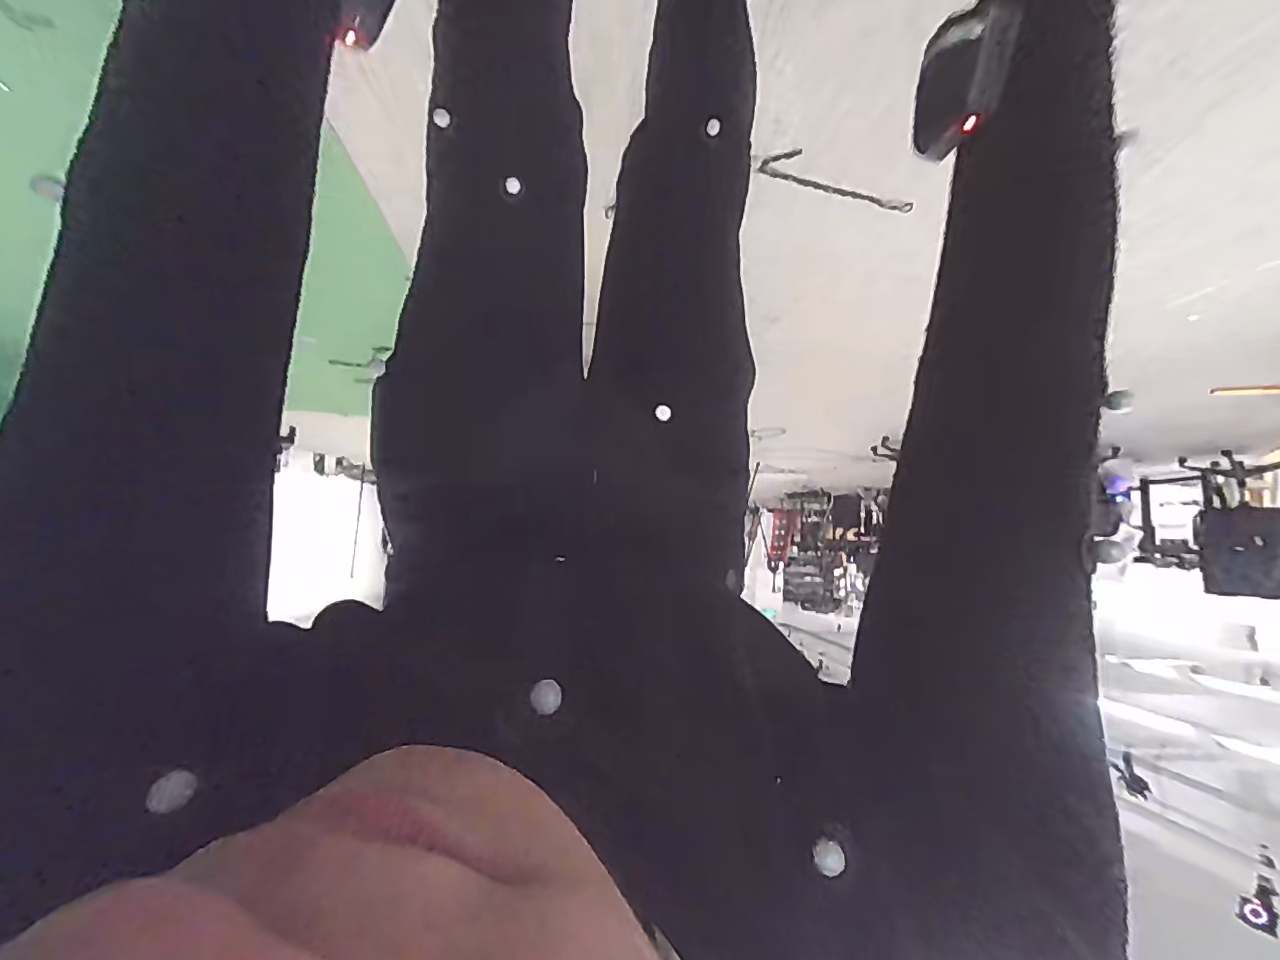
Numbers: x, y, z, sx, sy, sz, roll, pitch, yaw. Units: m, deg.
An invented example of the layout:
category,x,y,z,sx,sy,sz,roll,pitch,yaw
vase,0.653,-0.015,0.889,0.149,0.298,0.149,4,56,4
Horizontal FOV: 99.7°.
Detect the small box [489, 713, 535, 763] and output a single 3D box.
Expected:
category,x,y,z,sx,sy,sz,roll,pitch,yaw
small box,-0.544,1.093,2.321,0.179,0.176,0.168,3,174,-6
